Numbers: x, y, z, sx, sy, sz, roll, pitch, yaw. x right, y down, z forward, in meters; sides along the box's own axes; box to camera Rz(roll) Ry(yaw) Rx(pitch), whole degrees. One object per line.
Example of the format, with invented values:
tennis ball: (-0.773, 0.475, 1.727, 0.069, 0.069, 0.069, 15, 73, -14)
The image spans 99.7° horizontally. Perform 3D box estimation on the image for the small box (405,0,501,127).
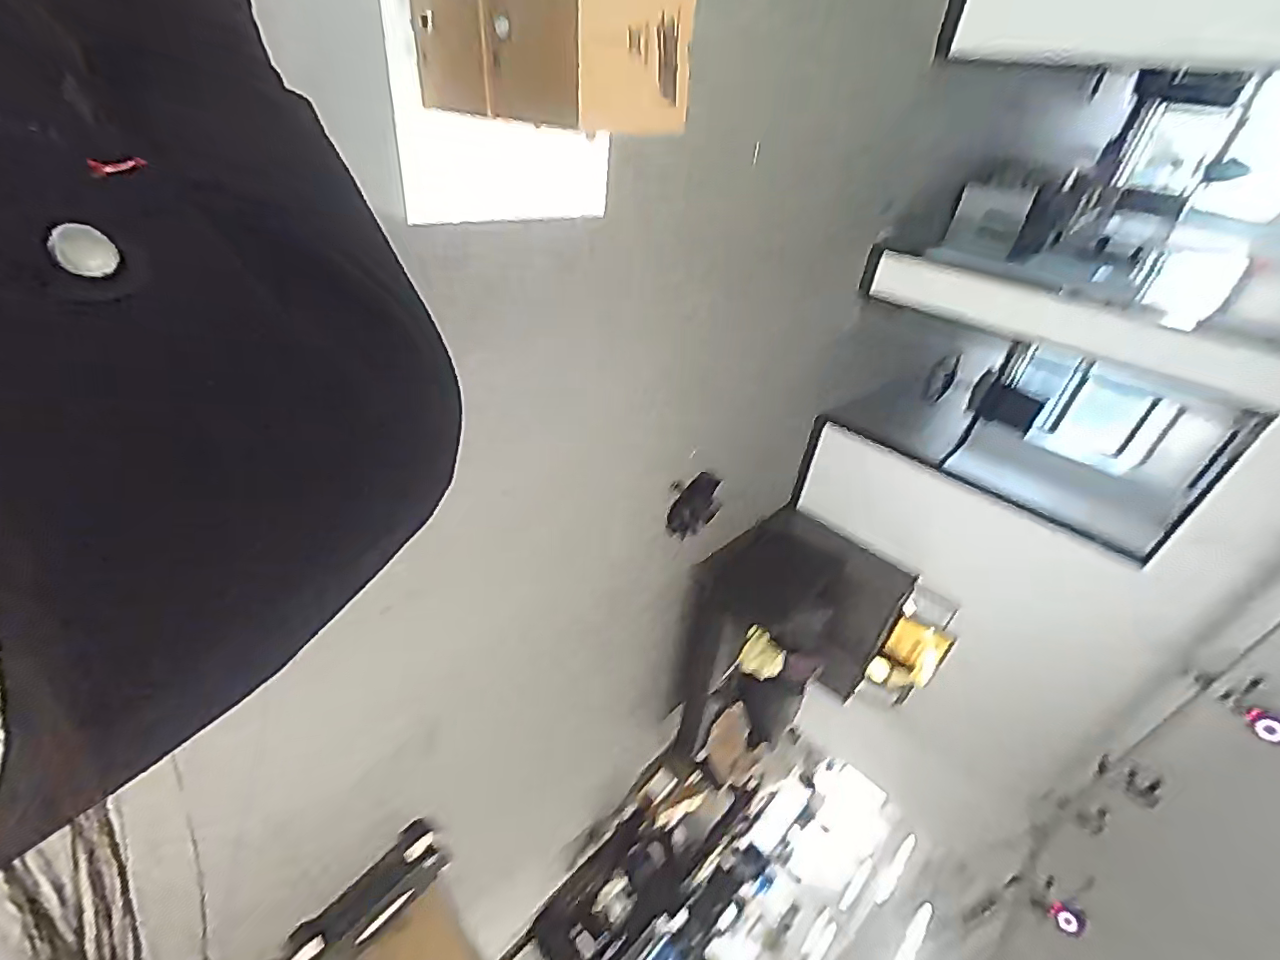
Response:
small box: (-0.177, -0.563, 0.701, 0.179, 0.176, 0.168, -28, 136, -35)

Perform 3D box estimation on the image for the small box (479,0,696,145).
small box: (-0.058, -0.492, 0.614, 0.179, 0.176, 0.168, -33, 140, -35)
